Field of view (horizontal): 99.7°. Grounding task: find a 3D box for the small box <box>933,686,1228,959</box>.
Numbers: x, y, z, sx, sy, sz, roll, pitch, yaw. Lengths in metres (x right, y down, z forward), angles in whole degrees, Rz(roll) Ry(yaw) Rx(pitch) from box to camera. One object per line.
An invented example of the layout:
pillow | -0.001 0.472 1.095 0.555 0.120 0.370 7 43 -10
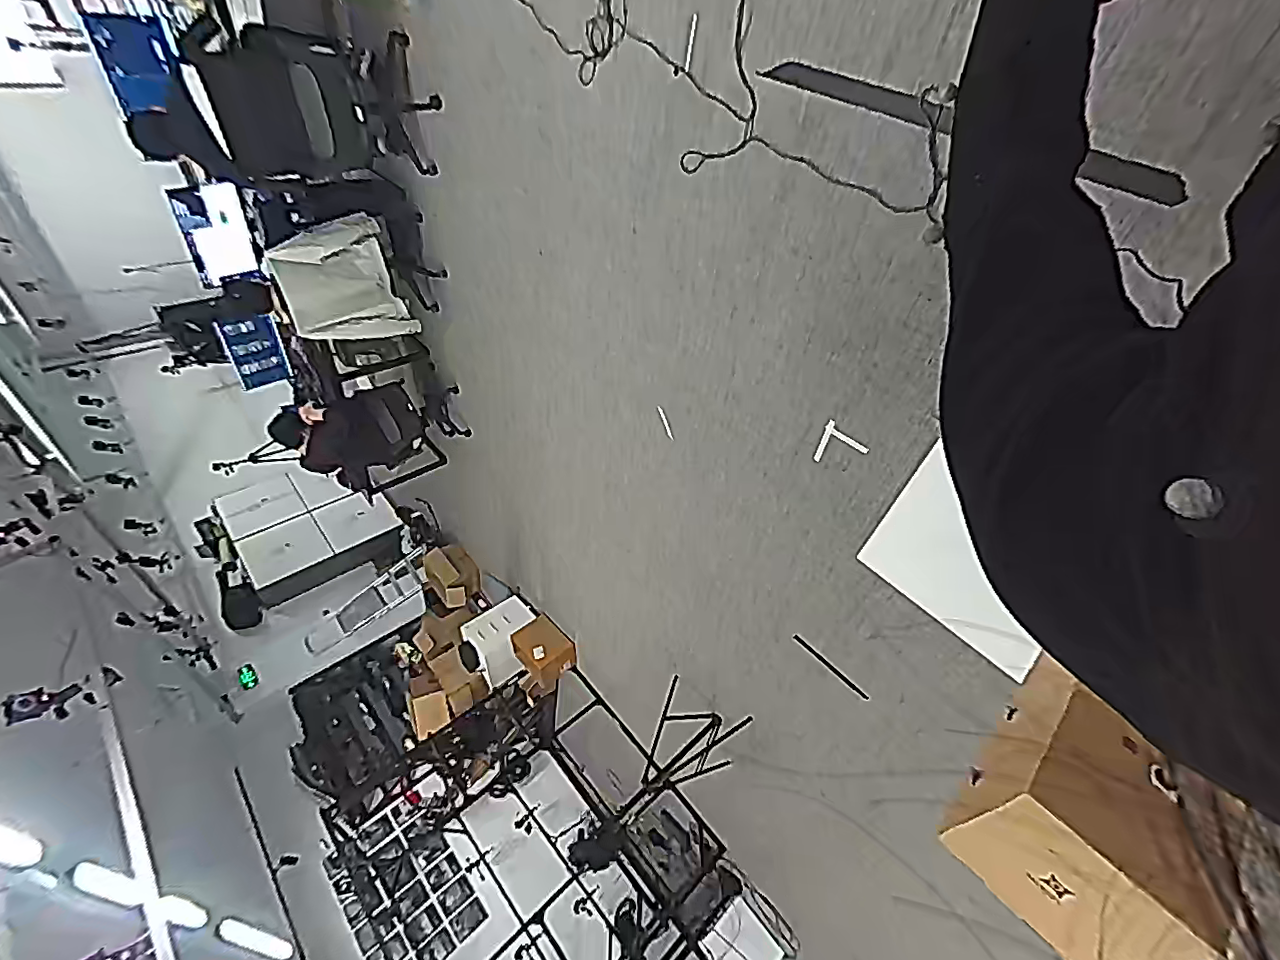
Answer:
small box | 0.463 0.363 0.578 0.168 0.176 0.179 40 141 28

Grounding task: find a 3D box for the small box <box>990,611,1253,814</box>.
small box | 0.584 0.296 0.664 0.168 0.176 0.179 41 143 28
